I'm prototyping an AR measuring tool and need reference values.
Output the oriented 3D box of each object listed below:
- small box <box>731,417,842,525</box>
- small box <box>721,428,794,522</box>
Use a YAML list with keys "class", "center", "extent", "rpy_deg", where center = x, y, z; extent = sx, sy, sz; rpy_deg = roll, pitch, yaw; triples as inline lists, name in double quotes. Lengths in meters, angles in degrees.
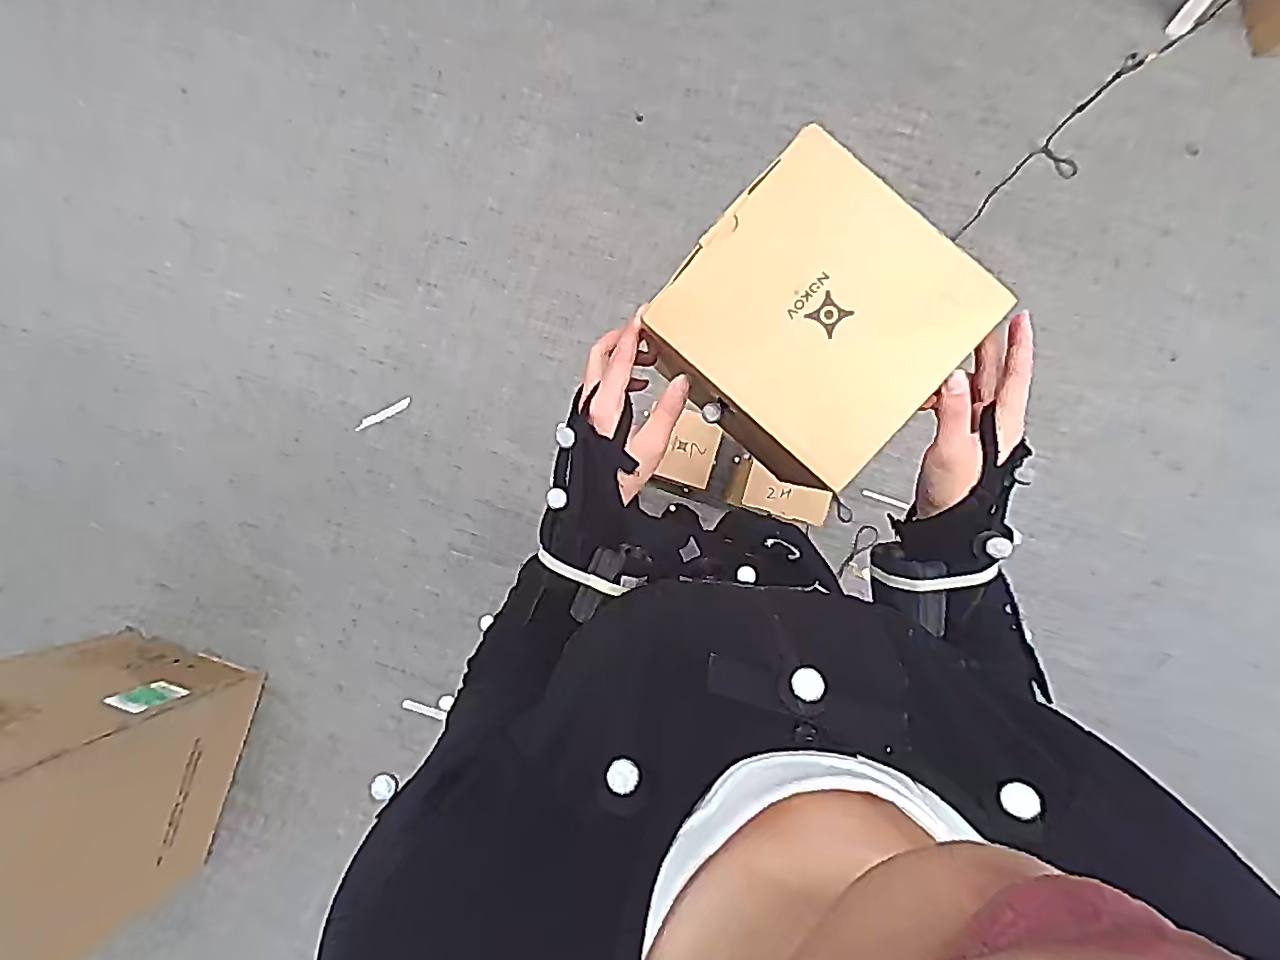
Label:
- class: "small box"
  center: [0.296, -0.016, 1.133]
  extent: [0.168, 0.176, 0.179]
  rpy_deg: [16, 89, 3]
- class: "small box"
  center: [0.302, -0.011, 1.298]
  extent: [0.168, 0.176, 0.179]
  rpy_deg: [18, 90, 3]
